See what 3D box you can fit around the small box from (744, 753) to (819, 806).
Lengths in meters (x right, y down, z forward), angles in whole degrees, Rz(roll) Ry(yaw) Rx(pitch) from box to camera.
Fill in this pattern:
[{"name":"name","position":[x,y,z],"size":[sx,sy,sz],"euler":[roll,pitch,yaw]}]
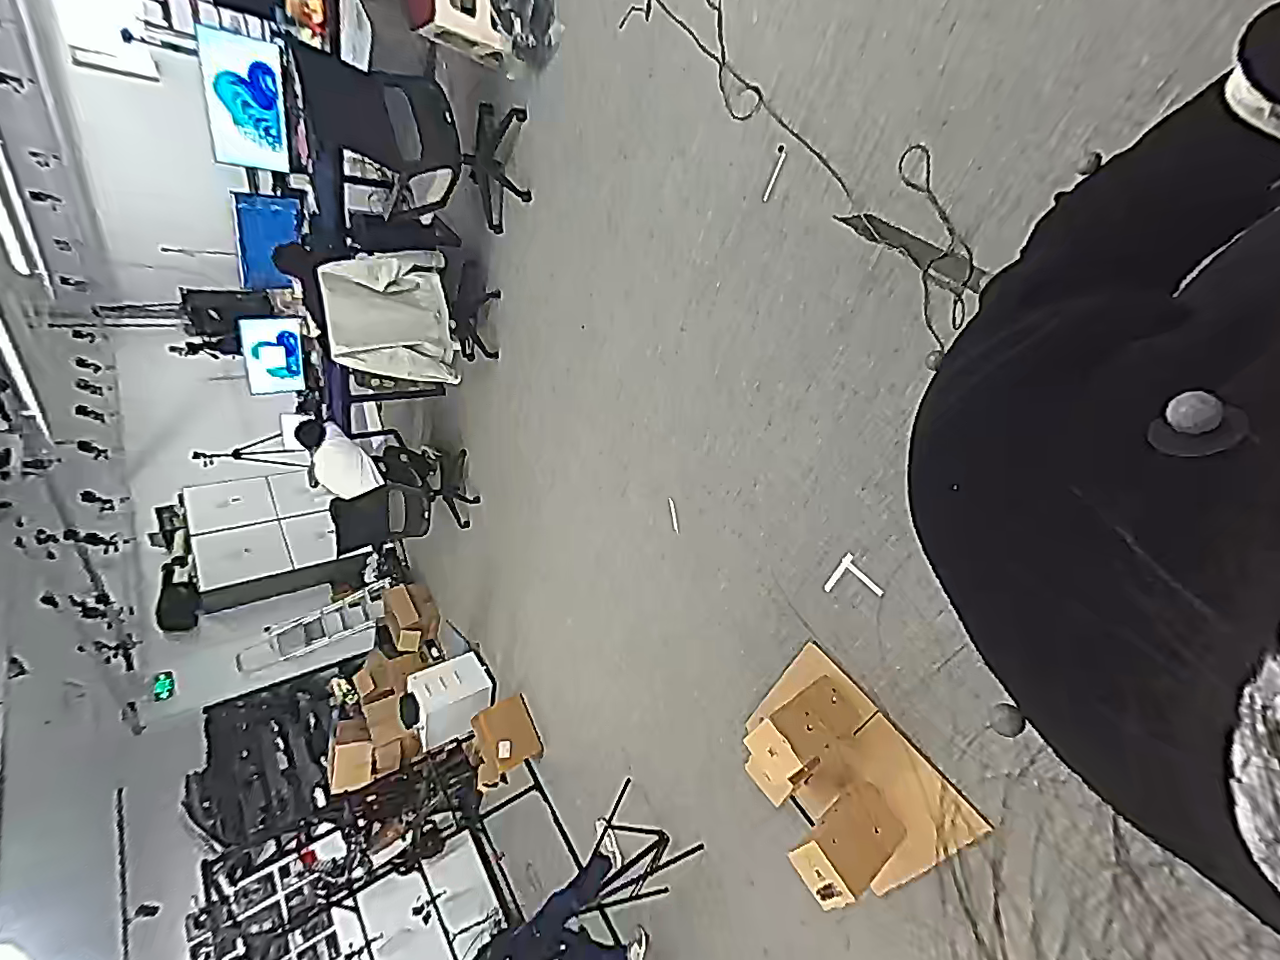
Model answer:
[{"name":"small box","position":[0.525,1.054,2.004],"size":[0.179,0.176,0.168],"euler":[44,133,36]}]

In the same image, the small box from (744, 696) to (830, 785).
[{"name":"small box","position":[0.473,0.832,1.736],"size":[0.168,0.176,0.179],"euler":[51,134,30]}]

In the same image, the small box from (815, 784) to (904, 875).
[{"name":"small box","position":[0.724,1.144,1.775],"size":[0.179,0.176,0.168],"euler":[54,136,25]}]
